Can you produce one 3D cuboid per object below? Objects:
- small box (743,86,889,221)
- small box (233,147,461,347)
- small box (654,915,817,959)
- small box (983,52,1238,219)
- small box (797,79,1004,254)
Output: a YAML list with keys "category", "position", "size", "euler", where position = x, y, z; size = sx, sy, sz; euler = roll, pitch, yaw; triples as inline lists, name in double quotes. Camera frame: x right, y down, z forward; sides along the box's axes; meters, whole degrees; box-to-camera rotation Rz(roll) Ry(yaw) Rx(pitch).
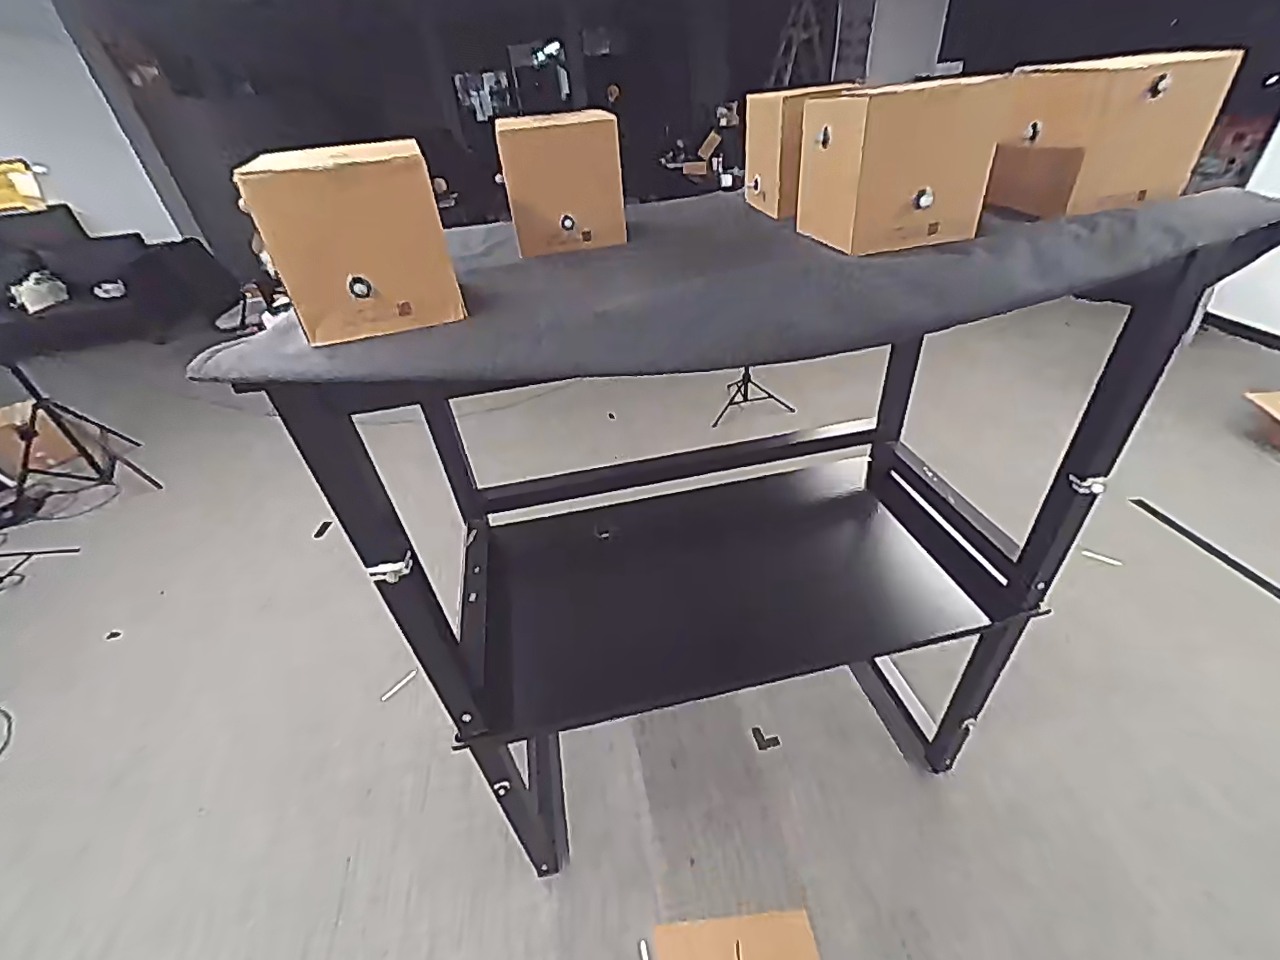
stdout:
- category: "small box"
  position: [0.279, -0.545, 0.900]
  size: [0.179, 0.176, 0.168]
  euler: [-10, 36, -5]
- category: "small box"
  position: [-0.313, -0.268, 0.614]
  size: [0.168, 0.176, 0.179]
  euler: [-16, 39, -14]
- category: "small box"
  position: [0.106, 0.581, 0.535]
  size: [0.168, 0.176, 0.179]
  euler: [-5, 27, -1]
- category: "small box"
  position: [0.613, -0.465, 0.739]
  size: [0.168, 0.176, 0.179]
  euler: [-9, 36, -3]
- category: "small box"
  position: [0.314, -0.401, 0.698]
  size: [0.168, 0.176, 0.179]
  euler: [-10, 35, -4]
